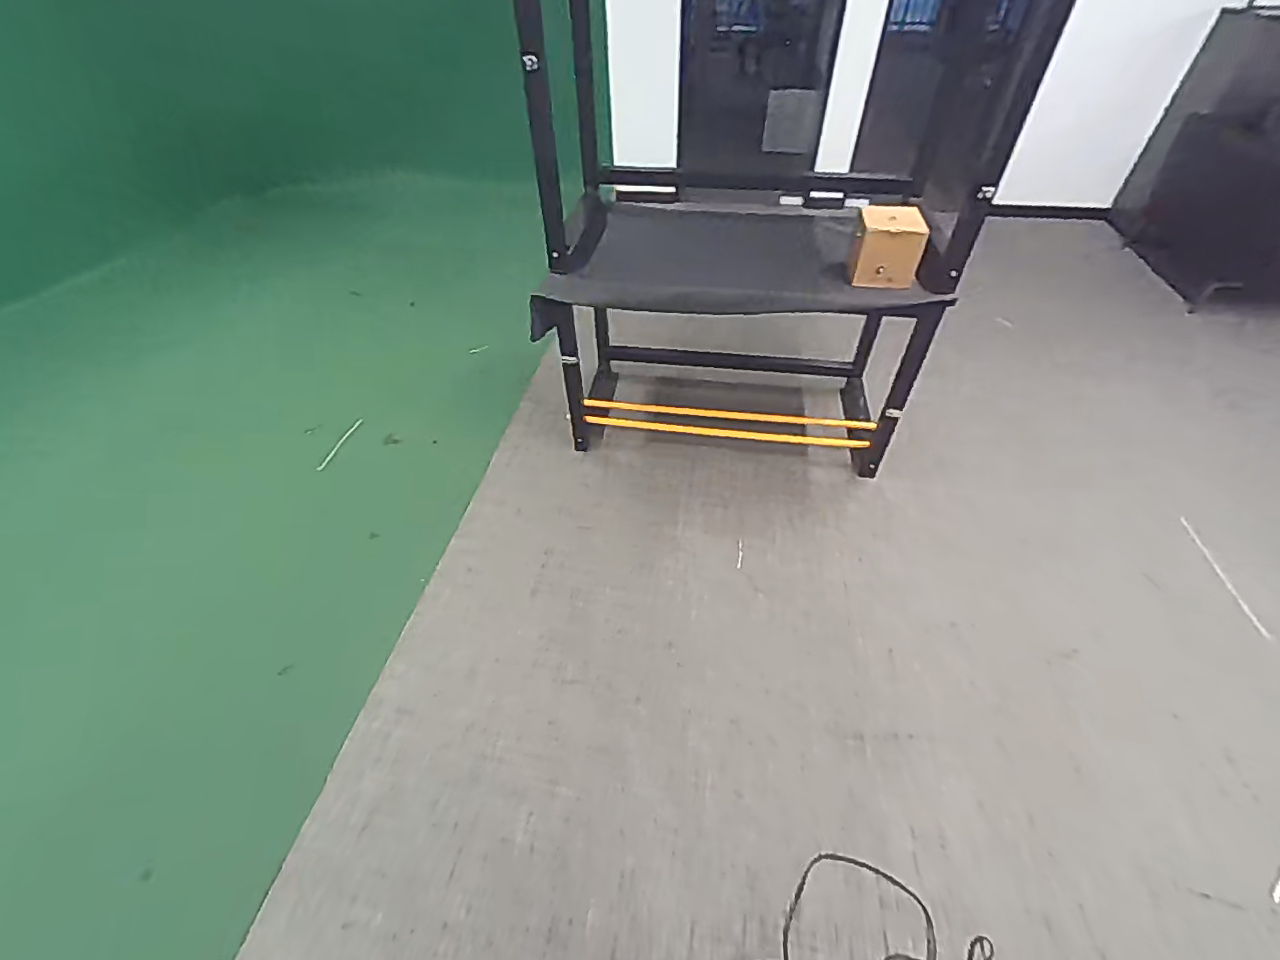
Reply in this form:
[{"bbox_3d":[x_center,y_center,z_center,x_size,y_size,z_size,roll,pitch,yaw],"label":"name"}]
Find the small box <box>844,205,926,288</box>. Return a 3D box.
[{"bbox_3d":[0.707,-0.684,1.582,0.168,0.176,0.179,5,46,7],"label":"small box"}]
